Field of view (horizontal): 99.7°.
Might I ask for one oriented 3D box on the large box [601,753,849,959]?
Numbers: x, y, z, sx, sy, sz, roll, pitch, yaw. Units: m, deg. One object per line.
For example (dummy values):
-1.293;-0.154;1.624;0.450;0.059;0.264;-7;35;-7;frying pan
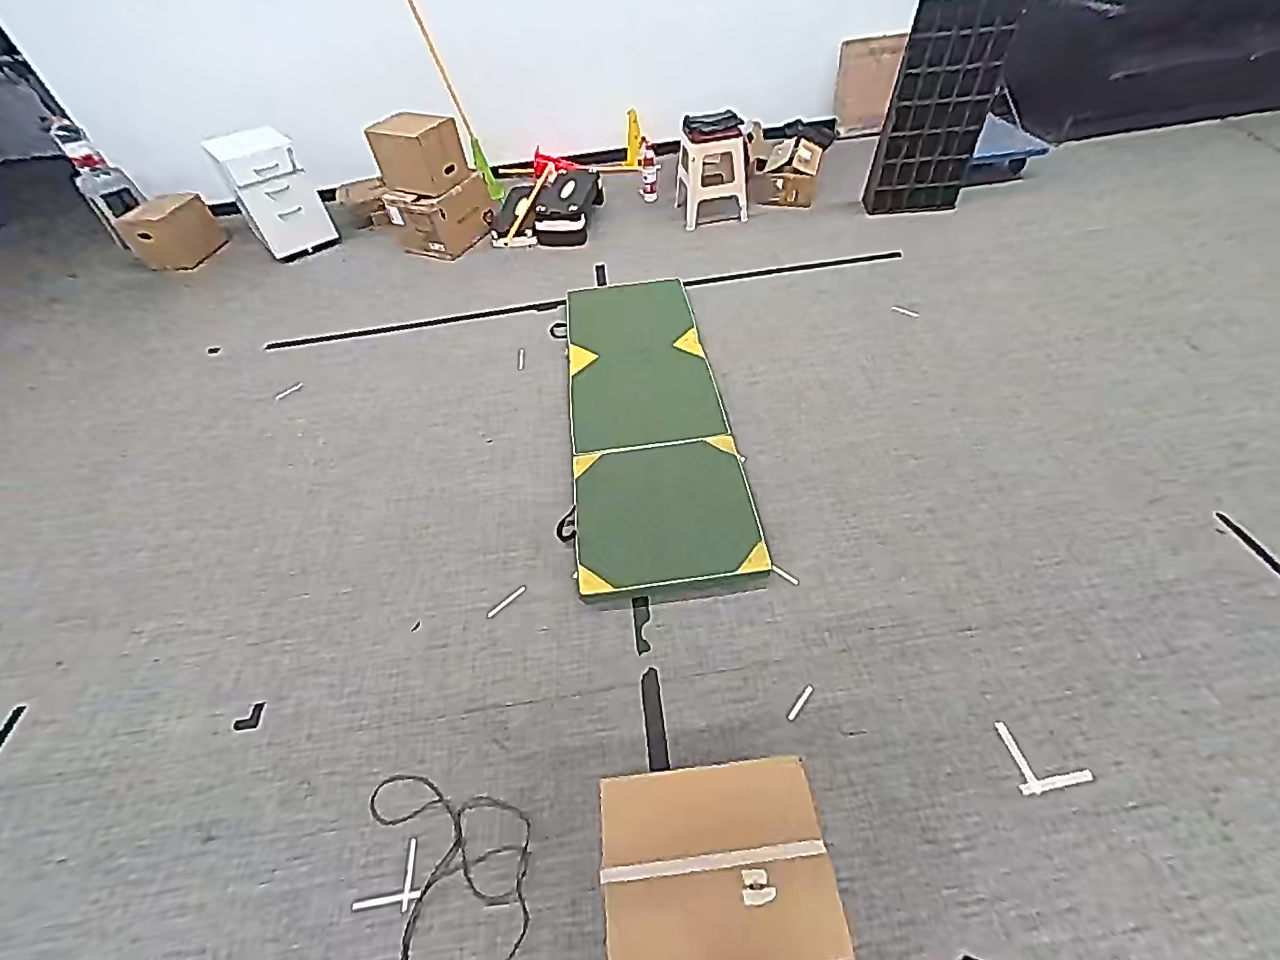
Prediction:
0.145;0.792;1.096;0.408;0.320;0.320;-7;48;-1;large box
